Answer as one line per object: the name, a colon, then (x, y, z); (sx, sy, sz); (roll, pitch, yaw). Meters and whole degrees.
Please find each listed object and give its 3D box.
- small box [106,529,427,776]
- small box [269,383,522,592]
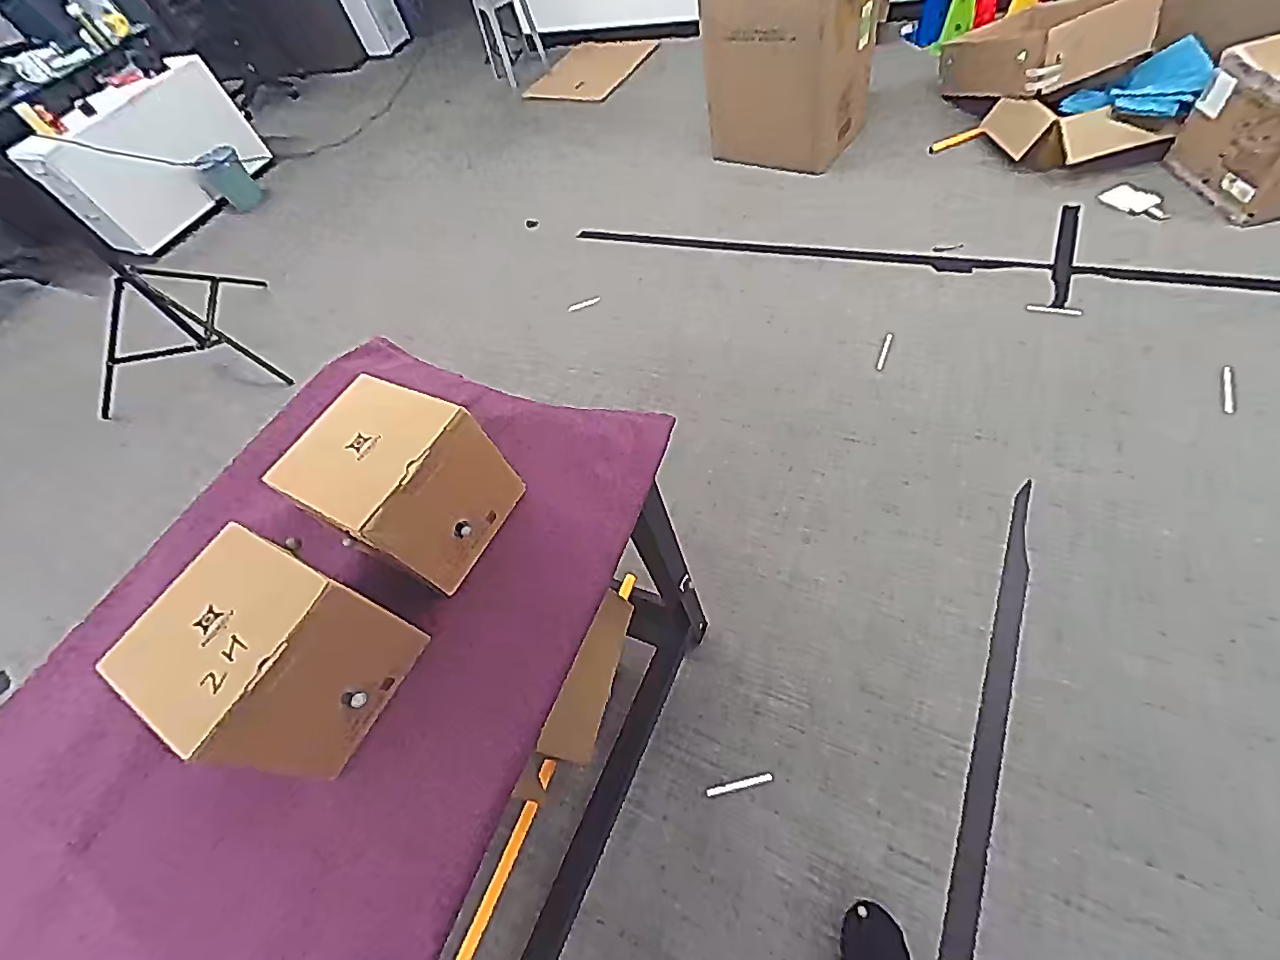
small box: (-0.365, 0.181, 0.558); (0.179, 0.176, 0.168); (18, 63, 26)
small box: (-0.278, 0.012, 0.649); (0.179, 0.176, 0.168); (18, 64, 26)
